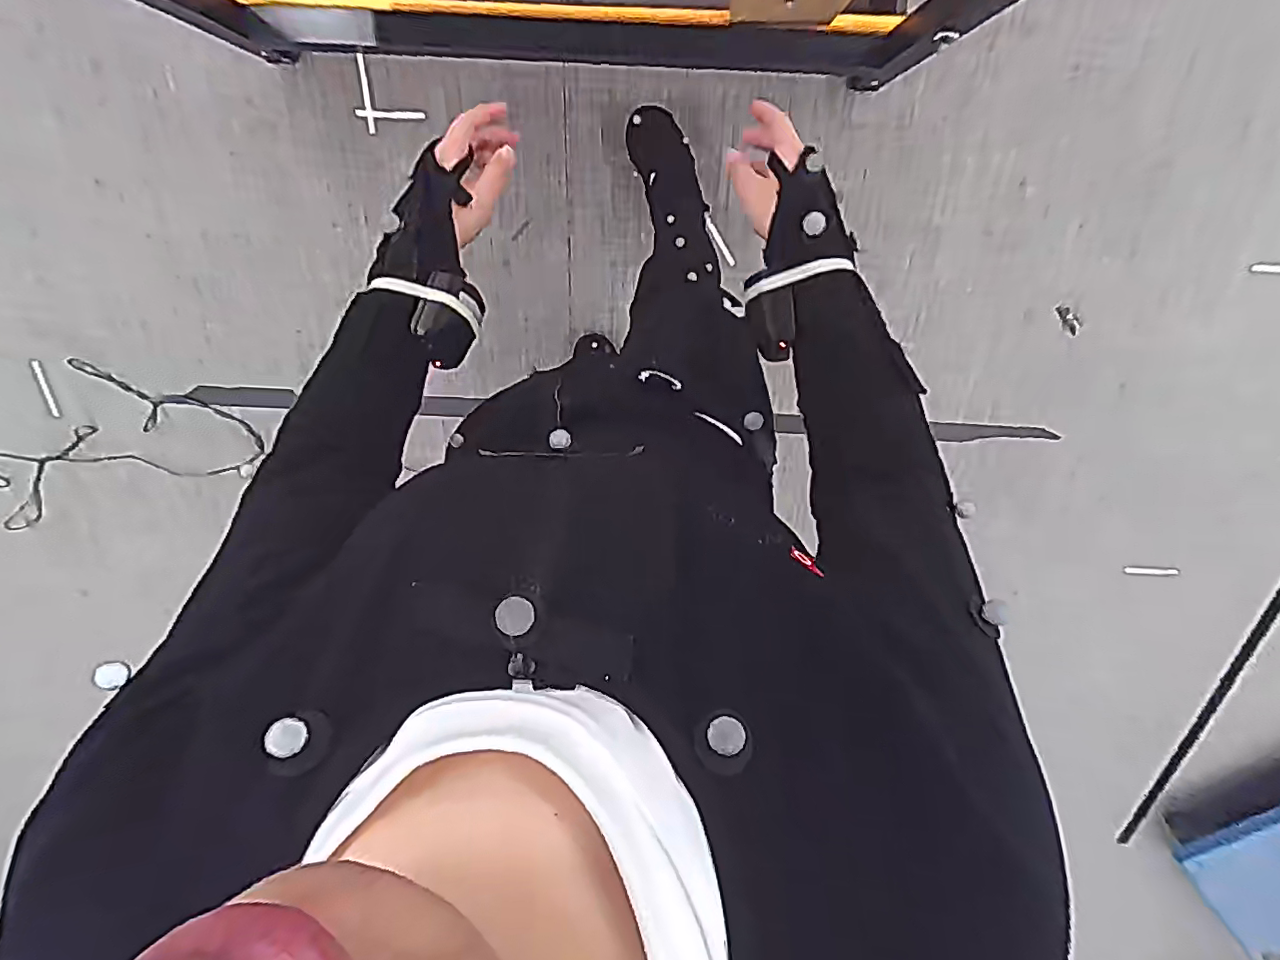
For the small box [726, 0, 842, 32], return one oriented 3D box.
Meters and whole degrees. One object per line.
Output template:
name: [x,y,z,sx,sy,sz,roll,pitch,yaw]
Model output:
small box: [0.232,-0.815,0.826,0.179,0.176,0.168,1,115,0]
